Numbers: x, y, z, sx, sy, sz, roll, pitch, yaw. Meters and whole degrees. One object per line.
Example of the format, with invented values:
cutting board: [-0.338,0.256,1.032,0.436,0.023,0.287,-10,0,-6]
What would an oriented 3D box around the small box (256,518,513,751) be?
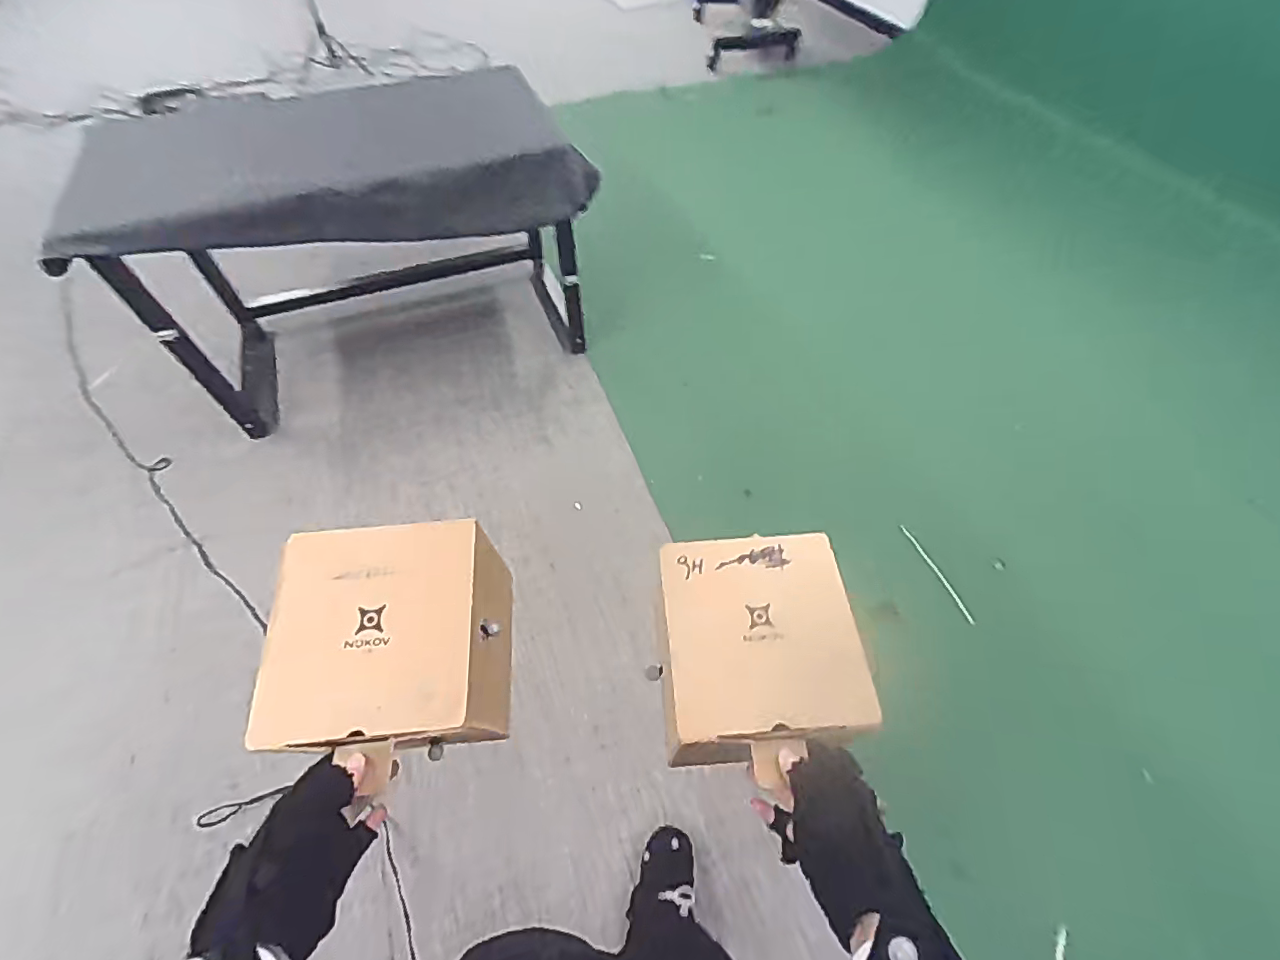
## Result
small box: [-0.220,0.156,0.520,0.168,0.176,0.179,-6,62,-4]
